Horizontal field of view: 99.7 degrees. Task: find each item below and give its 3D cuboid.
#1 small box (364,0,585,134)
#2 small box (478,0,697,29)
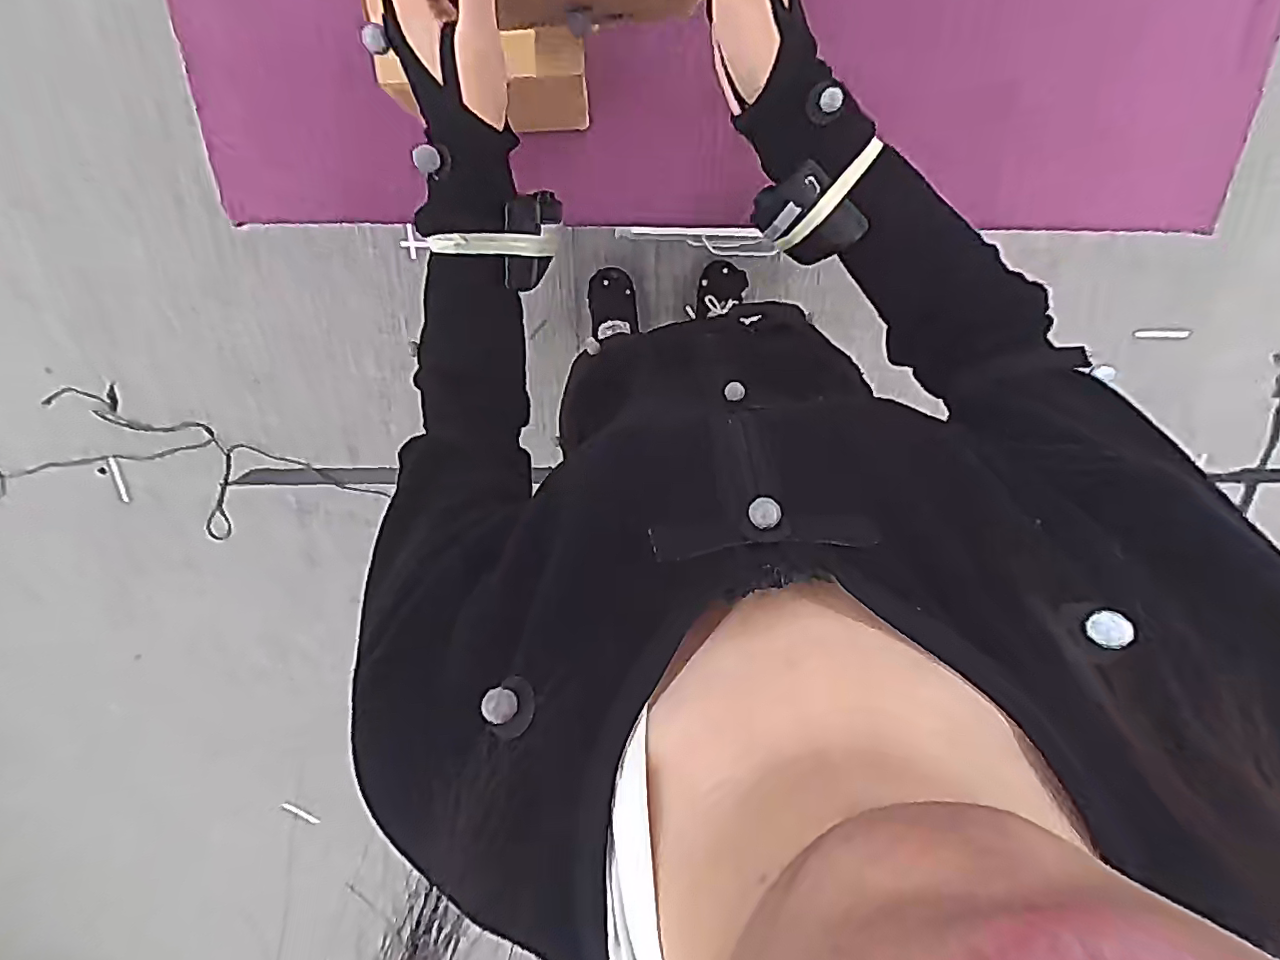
[{"bbox_3d":[-0.144,-0.443,0.509,0.179,0.176,0.168,-4,111,-1],"label":"small box"},{"bbox_3d":[-0.037,-0.391,0.306,0.168,0.176,0.179,-6,119,-4],"label":"small box"}]
